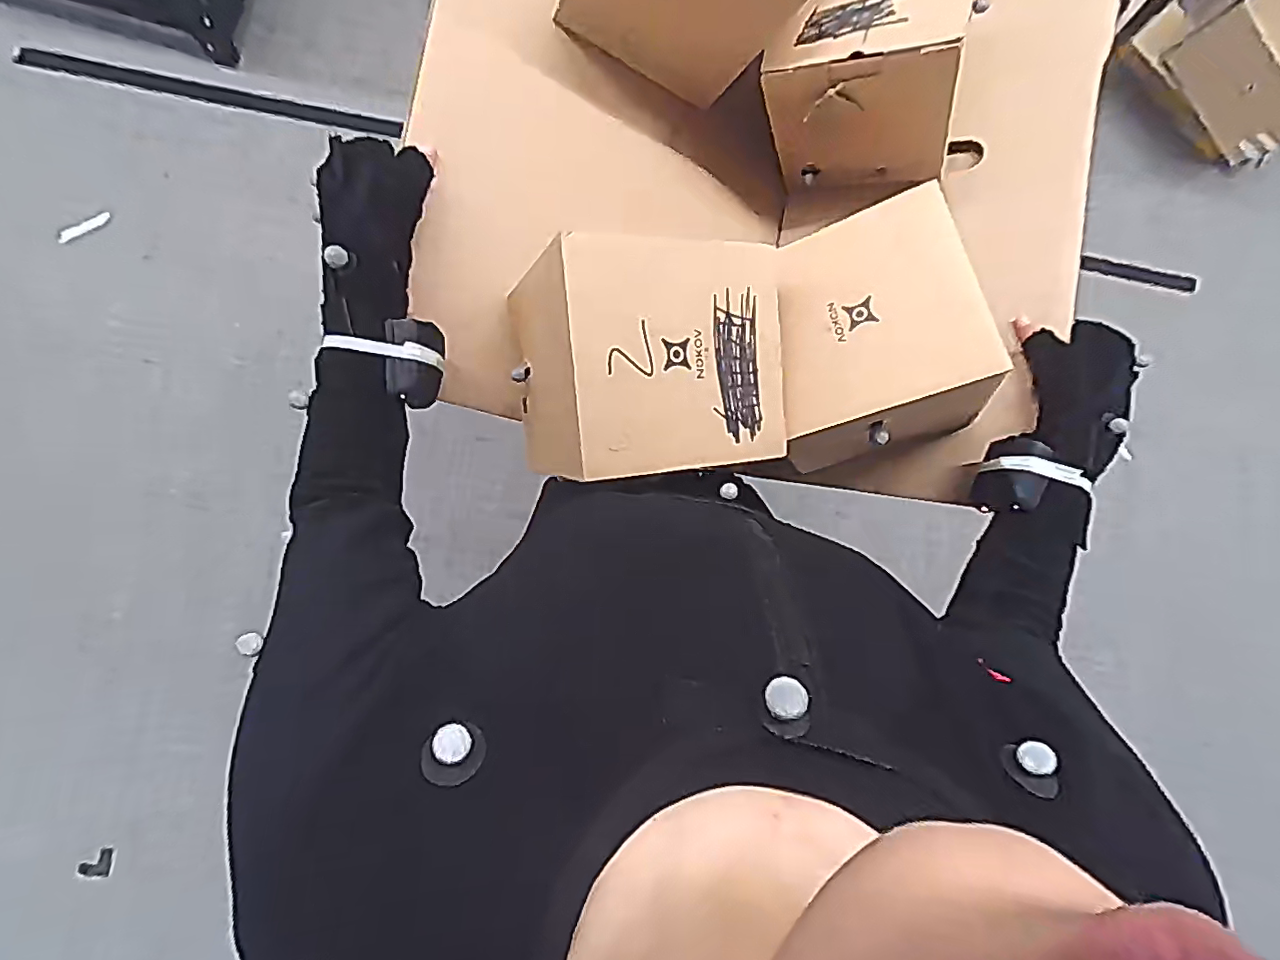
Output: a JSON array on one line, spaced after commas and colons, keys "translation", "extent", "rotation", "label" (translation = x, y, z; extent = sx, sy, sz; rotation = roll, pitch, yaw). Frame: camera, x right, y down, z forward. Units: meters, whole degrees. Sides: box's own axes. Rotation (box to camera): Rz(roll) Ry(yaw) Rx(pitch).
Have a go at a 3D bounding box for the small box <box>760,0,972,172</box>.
[{"translation": [0.232, -0.437, 0.543], "extent": [0.168, 0.176, 0.179], "rotation": [11, 84, 24], "label": "small box"}]
